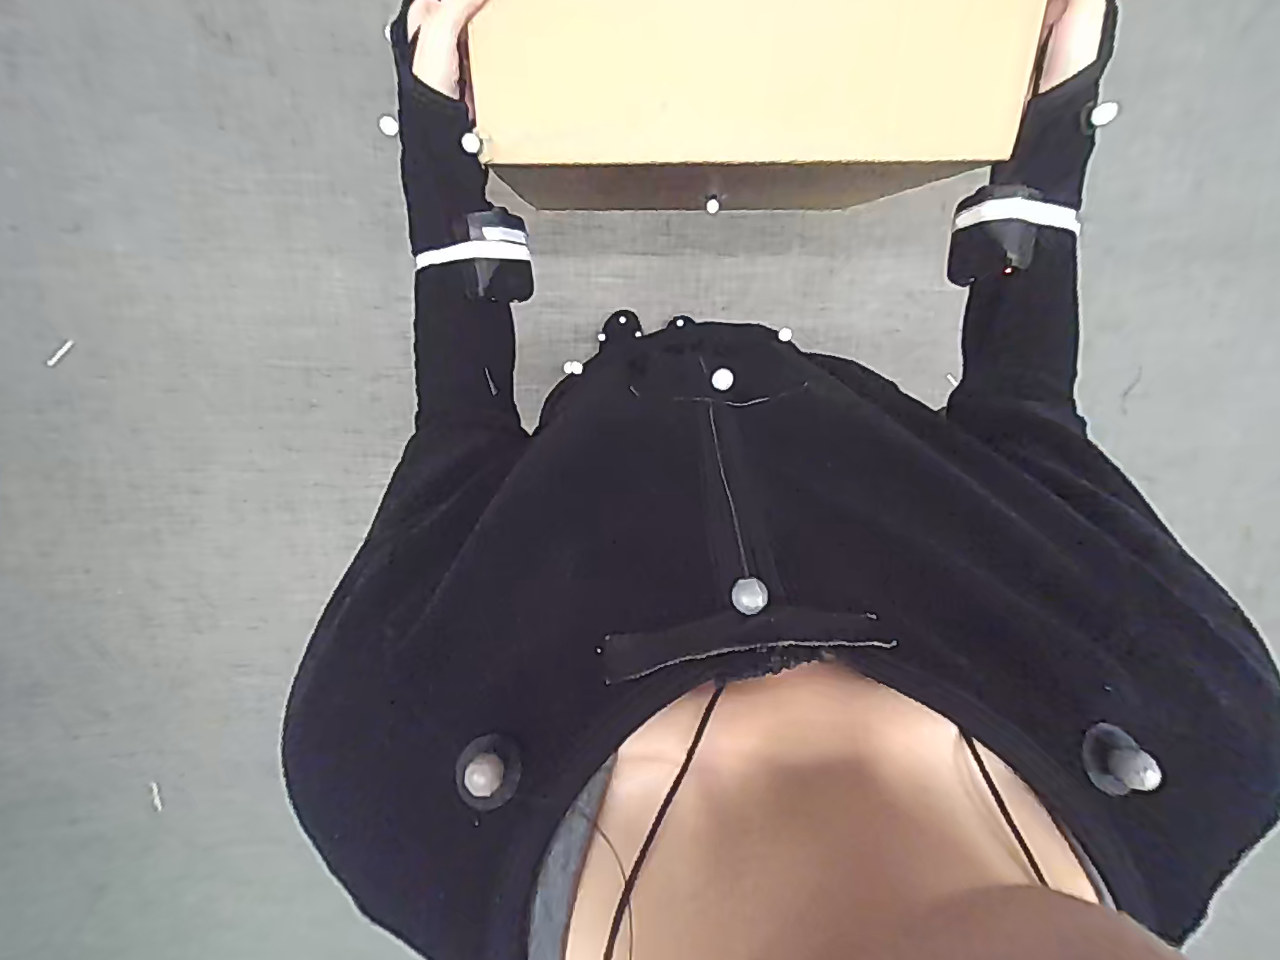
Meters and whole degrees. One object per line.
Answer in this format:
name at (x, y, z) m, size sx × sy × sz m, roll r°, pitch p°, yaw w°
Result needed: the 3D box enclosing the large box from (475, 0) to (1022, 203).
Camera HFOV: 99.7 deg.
large box at (0.076, -0.449, 0.506) m, size 0.408 × 0.320 × 0.320 m, roll -2°, pitch 110°, yaw -1°
